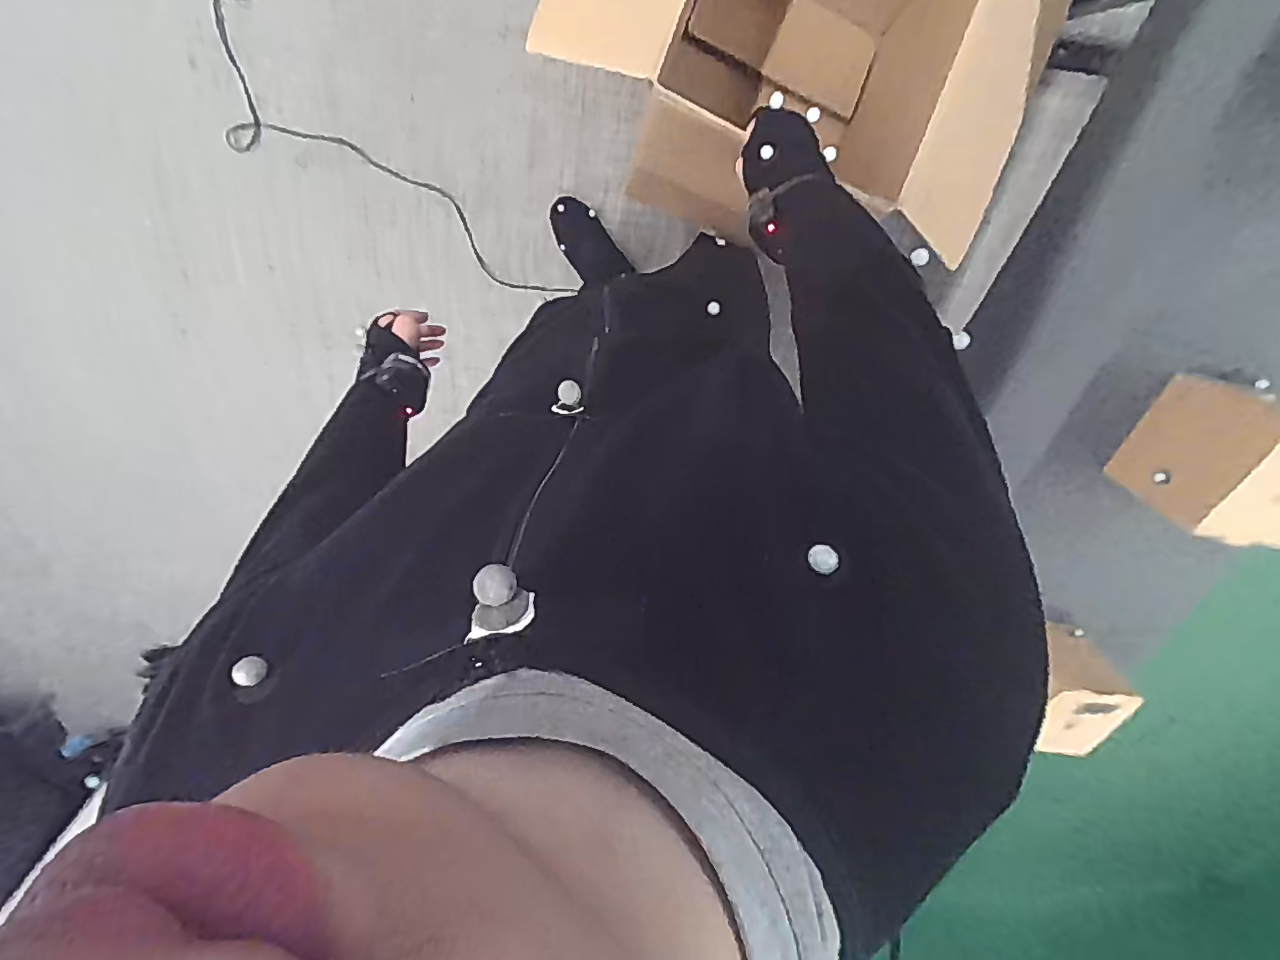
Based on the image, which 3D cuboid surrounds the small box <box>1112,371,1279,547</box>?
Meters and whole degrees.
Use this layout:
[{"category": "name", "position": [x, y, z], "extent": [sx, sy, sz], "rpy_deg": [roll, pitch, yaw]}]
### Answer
[{"category": "small box", "position": [0.835, -0.032, 0.766], "extent": [0.168, 0.176, 0.179], "rpy_deg": [8, 121, -8]}]

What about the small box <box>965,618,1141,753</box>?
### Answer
[{"category": "small box", "position": [0.766, 0.388, 1.031], "extent": [0.168, 0.176, 0.179], "rpy_deg": [10, 123, -7]}]
